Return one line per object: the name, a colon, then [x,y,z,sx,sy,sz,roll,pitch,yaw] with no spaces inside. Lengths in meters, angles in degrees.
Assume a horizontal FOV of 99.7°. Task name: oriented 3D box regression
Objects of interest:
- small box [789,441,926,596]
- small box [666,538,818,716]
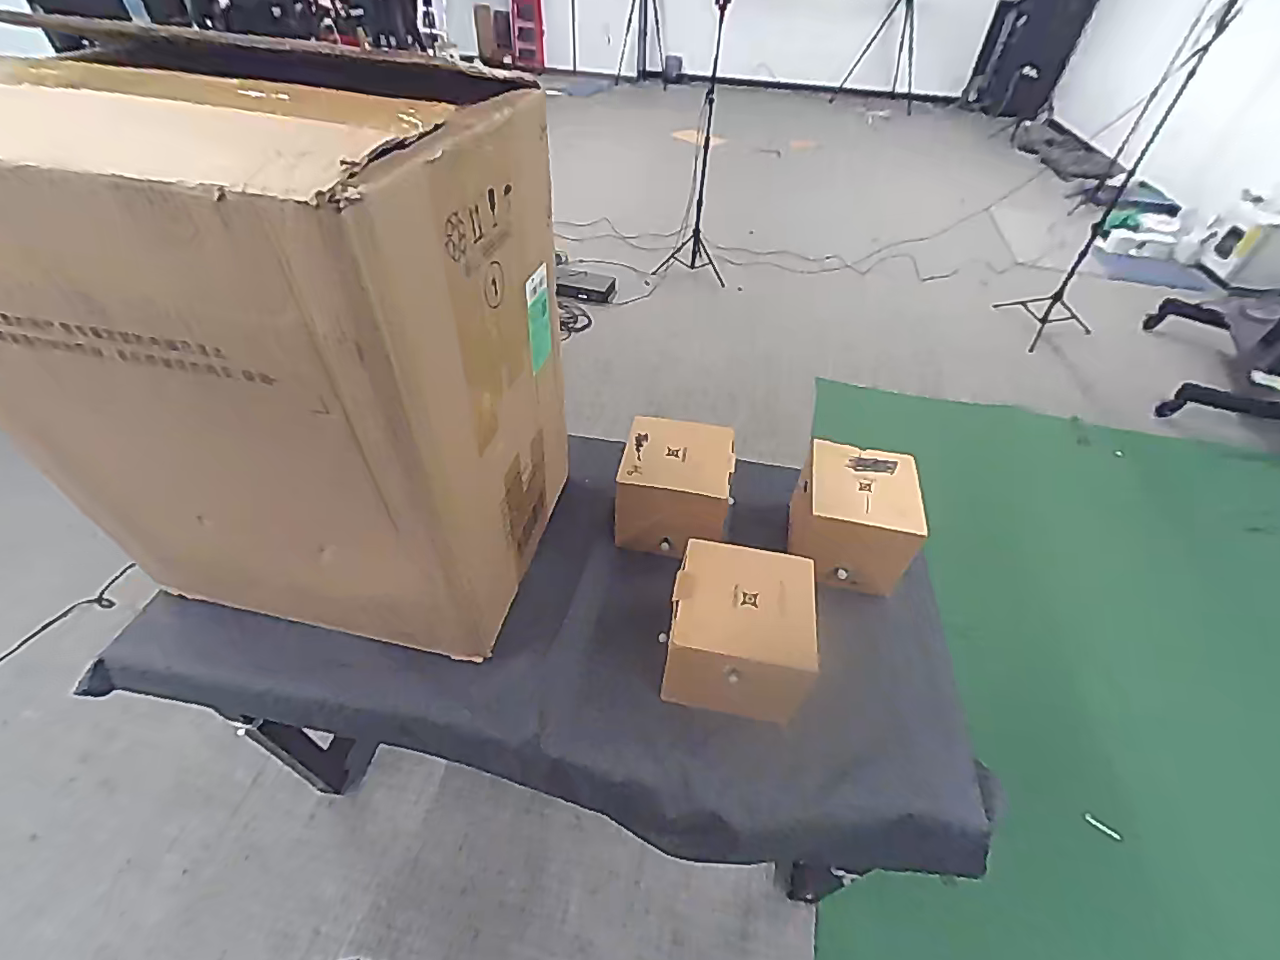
small box: [0.351,0.064,0.907,0.168,0.176,0.179,11,46,8]
small box: [0.136,0.207,0.755,0.179,0.176,0.168,10,47,5]
